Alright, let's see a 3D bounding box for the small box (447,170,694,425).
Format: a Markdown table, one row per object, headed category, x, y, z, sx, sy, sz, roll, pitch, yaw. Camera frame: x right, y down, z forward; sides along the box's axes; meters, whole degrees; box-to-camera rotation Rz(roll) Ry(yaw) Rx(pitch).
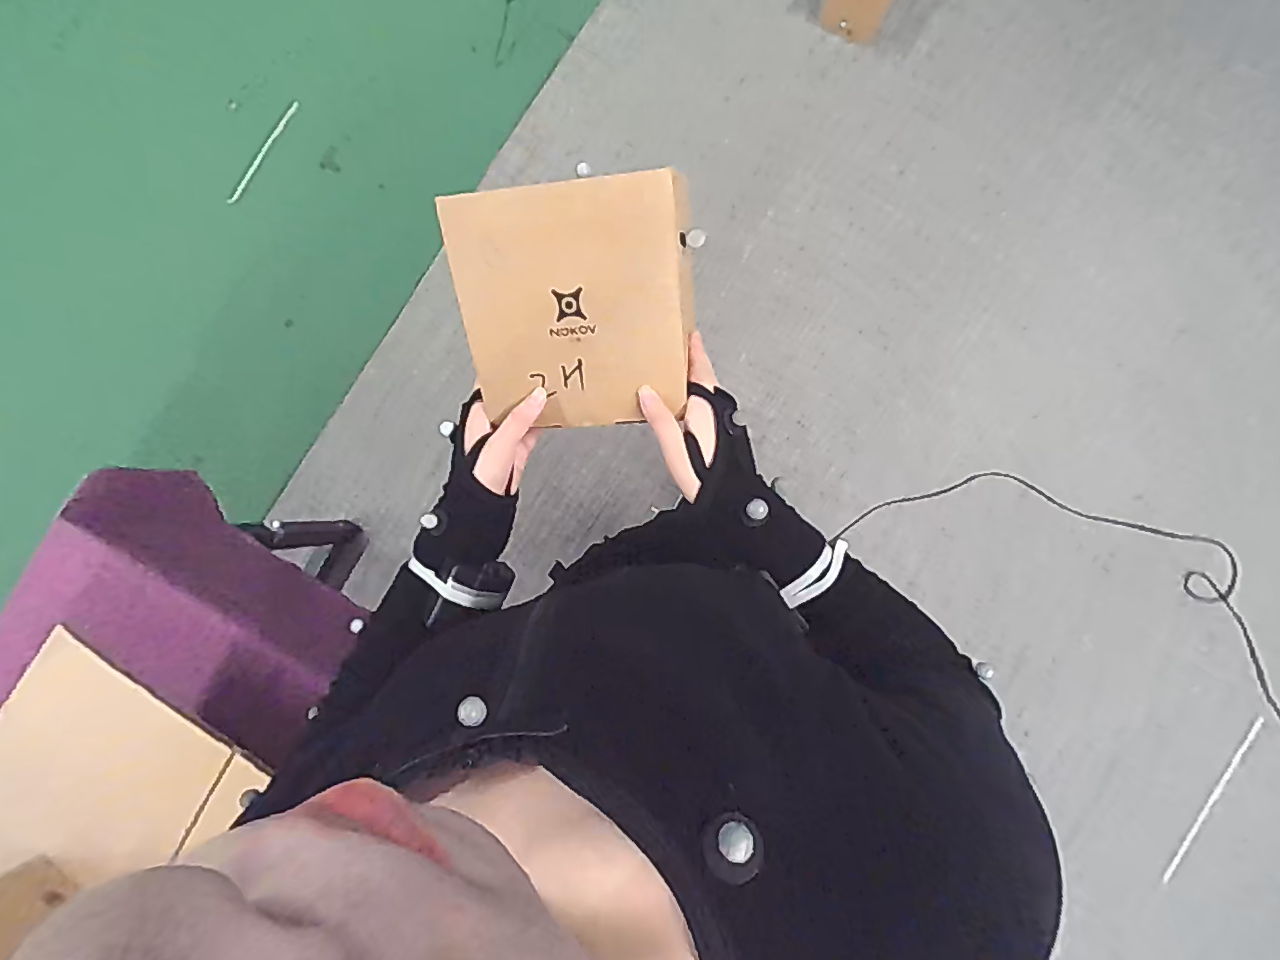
| category | x | y | z | sx | sy | sz | roll | pitch | yaw |
| --- | --- | --- | --- | --- | --- | --- | --- | --- | --- |
| small box | -0.040 | -0.161 | 0.476 | 0.168 | 0.176 | 0.179 | -1 | 117 | 9 |
